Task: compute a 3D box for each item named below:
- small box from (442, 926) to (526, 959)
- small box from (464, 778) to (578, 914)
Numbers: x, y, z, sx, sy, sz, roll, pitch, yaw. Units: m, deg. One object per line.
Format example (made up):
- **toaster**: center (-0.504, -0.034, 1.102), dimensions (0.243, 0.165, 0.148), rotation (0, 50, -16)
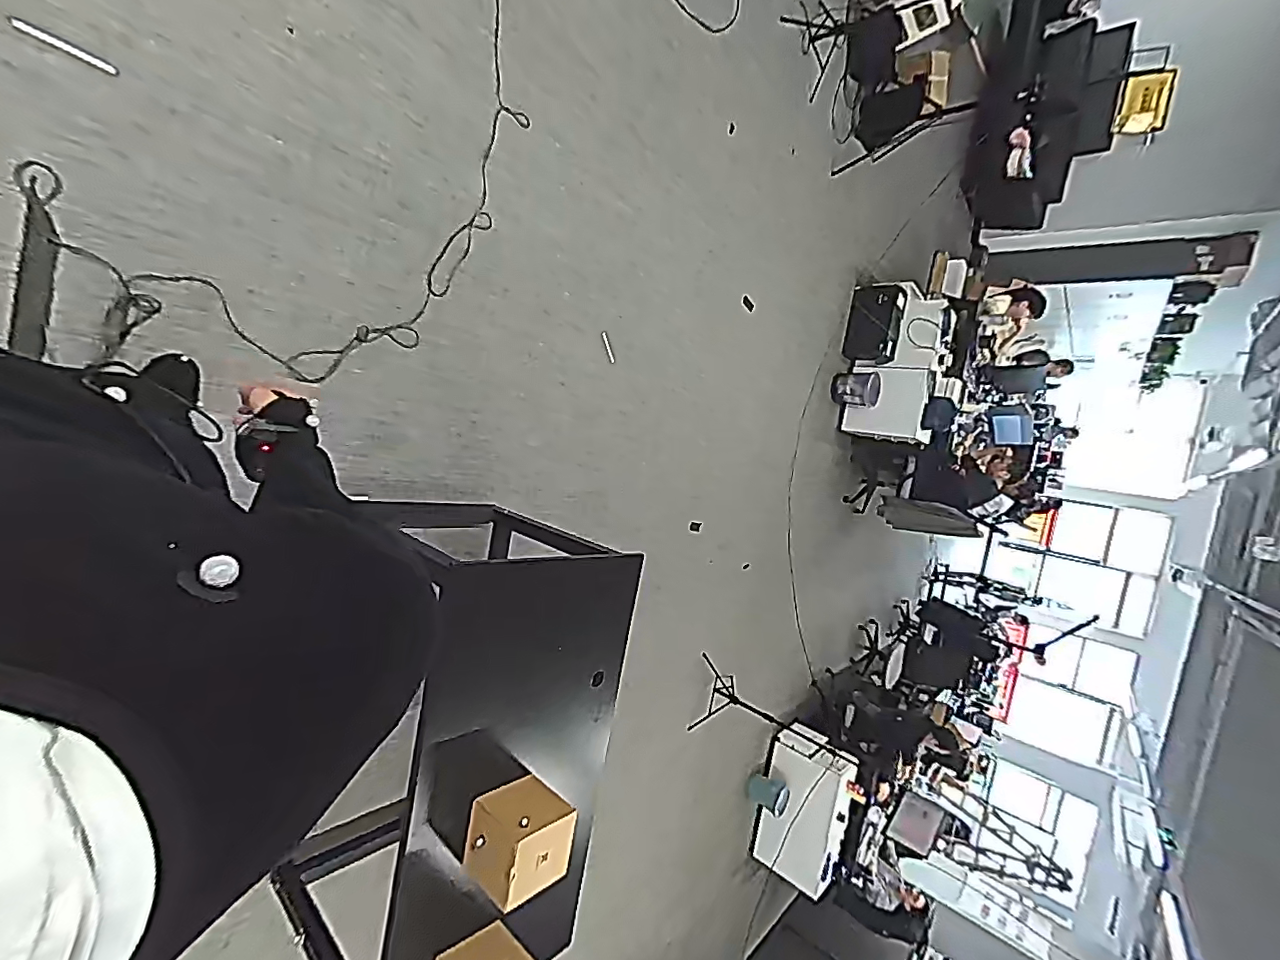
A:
- **small box**: center (-0.364, 1.190, 1.241), dimensions (0.179, 0.176, 0.168), rotation (14, 88, -51)
- **small box**: center (-0.275, 0.829, 1.250), dimensions (0.179, 0.176, 0.168), rotation (5, 96, -50)
